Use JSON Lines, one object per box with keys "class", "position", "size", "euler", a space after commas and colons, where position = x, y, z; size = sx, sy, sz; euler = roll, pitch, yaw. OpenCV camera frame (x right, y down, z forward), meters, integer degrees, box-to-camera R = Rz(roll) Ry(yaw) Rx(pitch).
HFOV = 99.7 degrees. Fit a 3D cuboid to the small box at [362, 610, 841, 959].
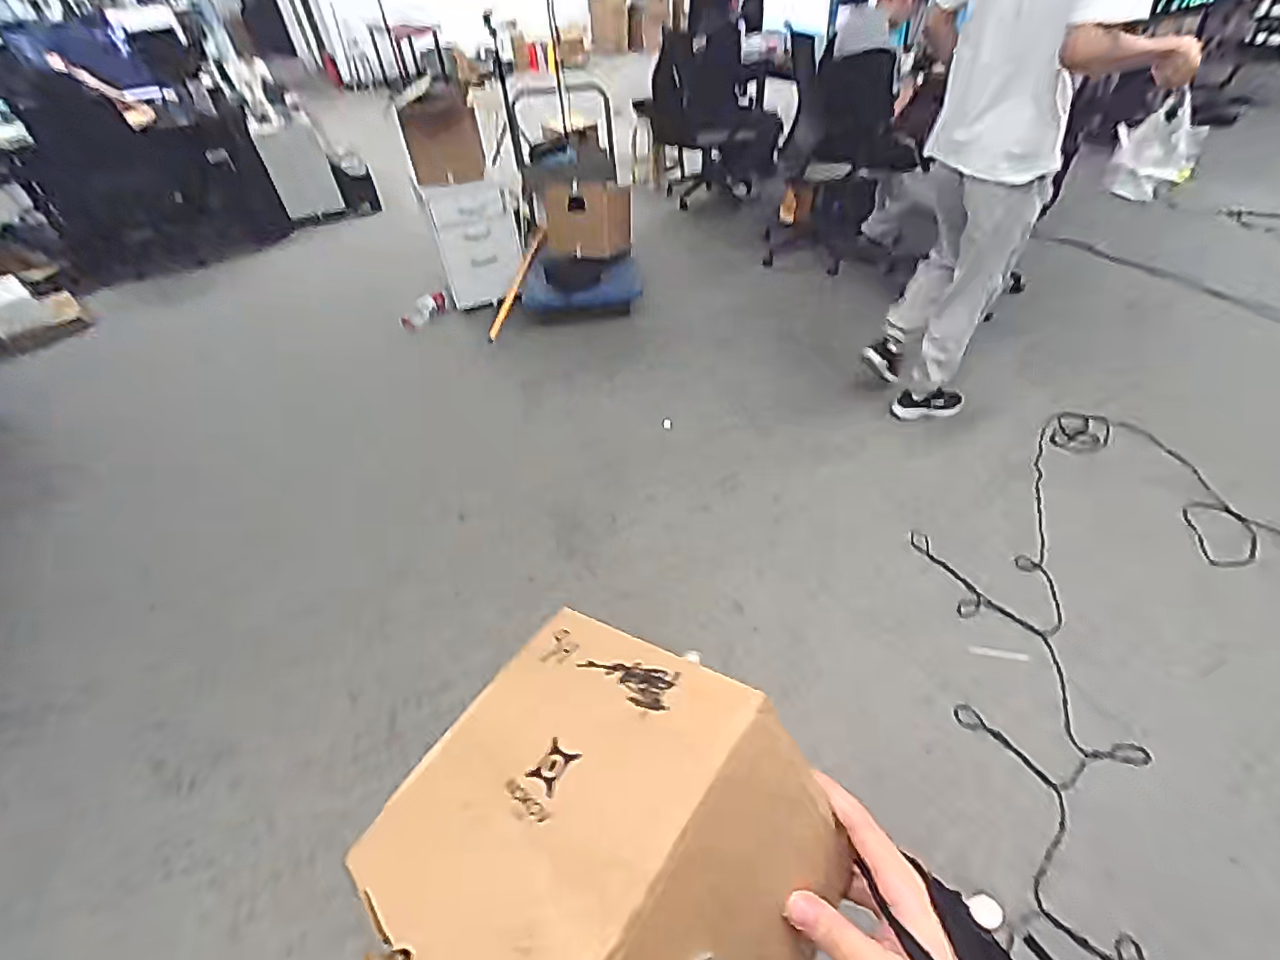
{"class": "small box", "position": [-0.009, 0.210, 0.306], "size": [0.168, 0.176, 0.179], "euler": [6, 44, 47]}
